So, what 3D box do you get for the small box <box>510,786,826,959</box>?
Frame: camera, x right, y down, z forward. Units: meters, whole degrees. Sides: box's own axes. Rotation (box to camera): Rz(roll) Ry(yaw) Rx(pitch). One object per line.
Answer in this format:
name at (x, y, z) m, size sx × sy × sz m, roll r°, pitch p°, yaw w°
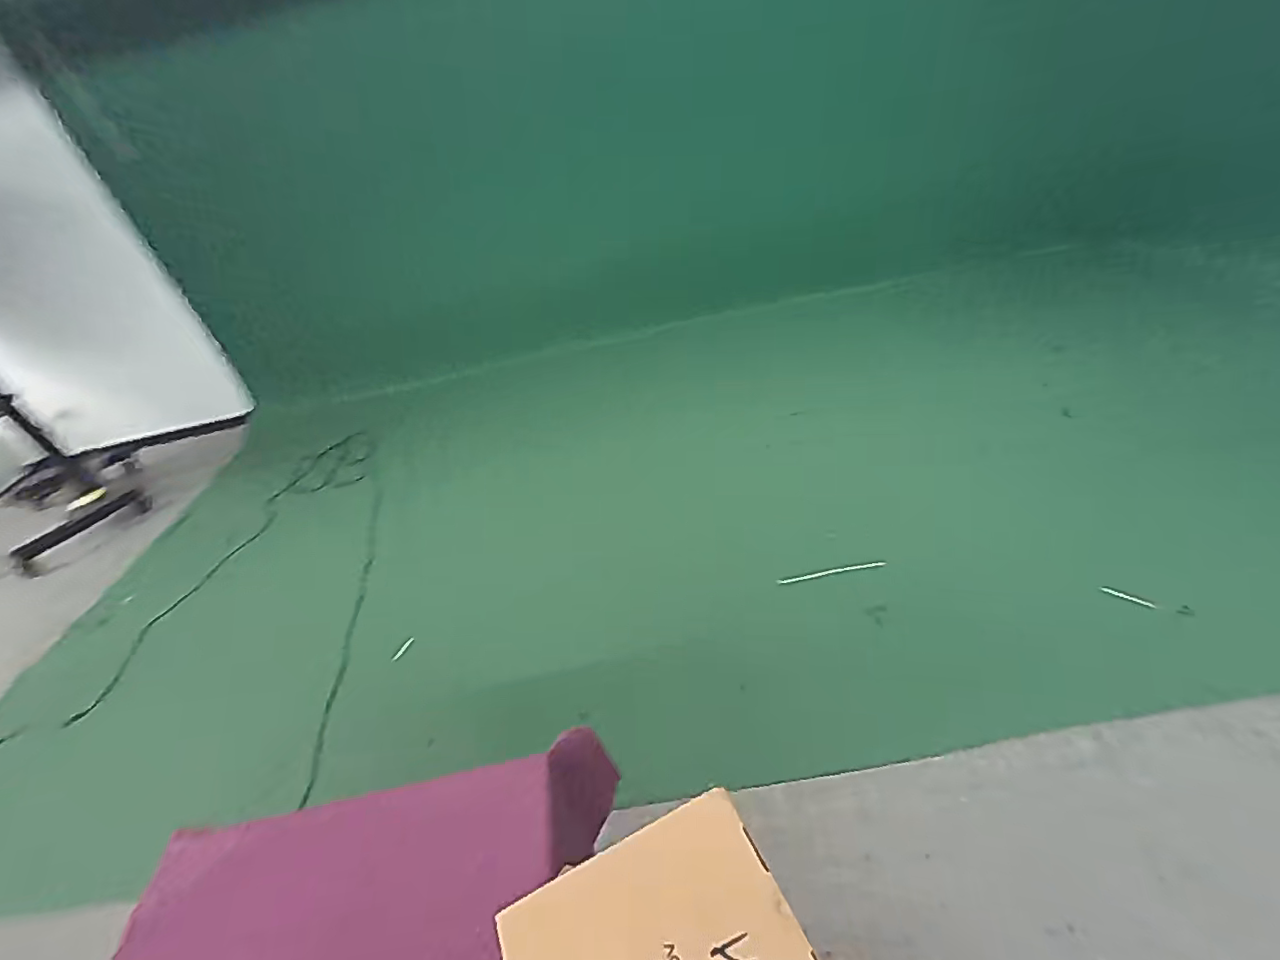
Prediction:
small box at (0.033, 0.358, 0.369) m, size 0.179 × 0.176 × 0.168 m, roll -21°, pitch 41°, yaw -12°
